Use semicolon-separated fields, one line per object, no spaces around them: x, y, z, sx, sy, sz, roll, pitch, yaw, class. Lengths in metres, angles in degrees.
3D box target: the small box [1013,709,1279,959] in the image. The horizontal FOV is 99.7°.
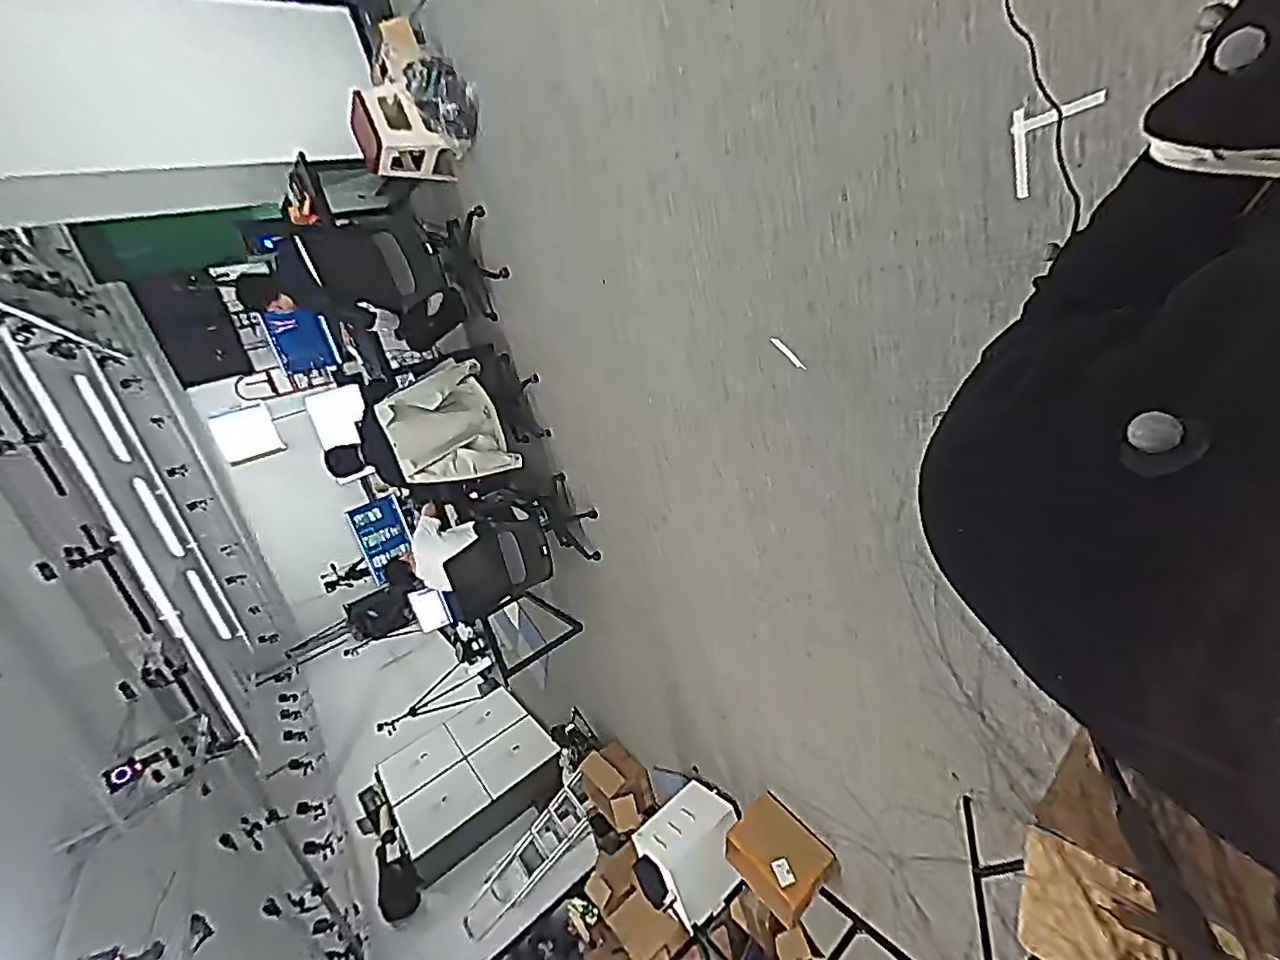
0.456;0.341;0.470;0.168;0.176;0.179;16;125;50;small box
